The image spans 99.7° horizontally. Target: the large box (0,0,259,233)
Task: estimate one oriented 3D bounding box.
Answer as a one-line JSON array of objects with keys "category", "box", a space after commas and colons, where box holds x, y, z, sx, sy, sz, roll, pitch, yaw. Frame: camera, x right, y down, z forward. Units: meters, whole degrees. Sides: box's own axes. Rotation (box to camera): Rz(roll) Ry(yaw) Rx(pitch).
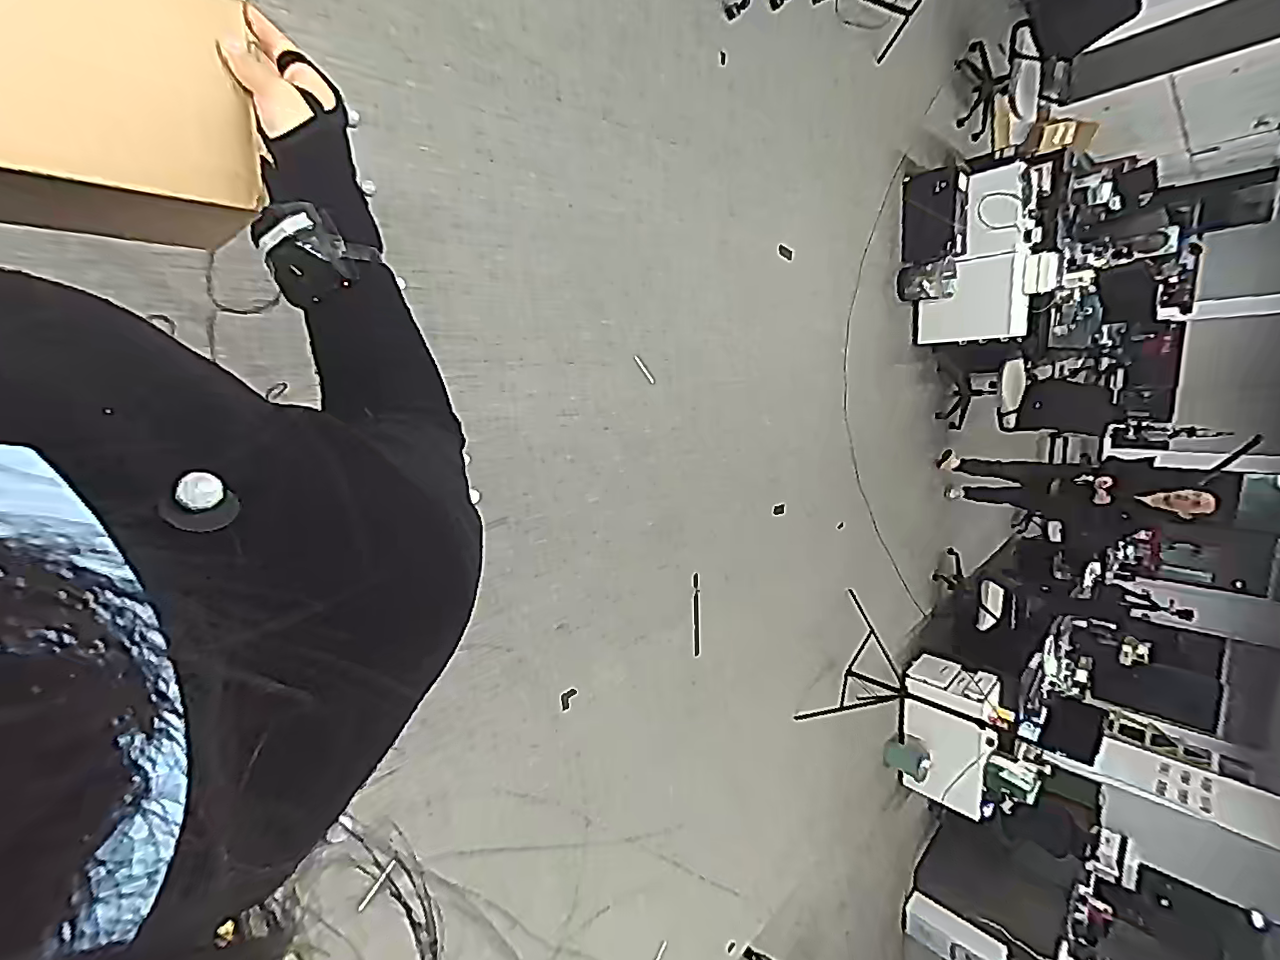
[{"category": "large box", "box": [-0.559, -0.384, 0.389, 0.408, 0.320, 0.320, -11, 108, -42]}]
